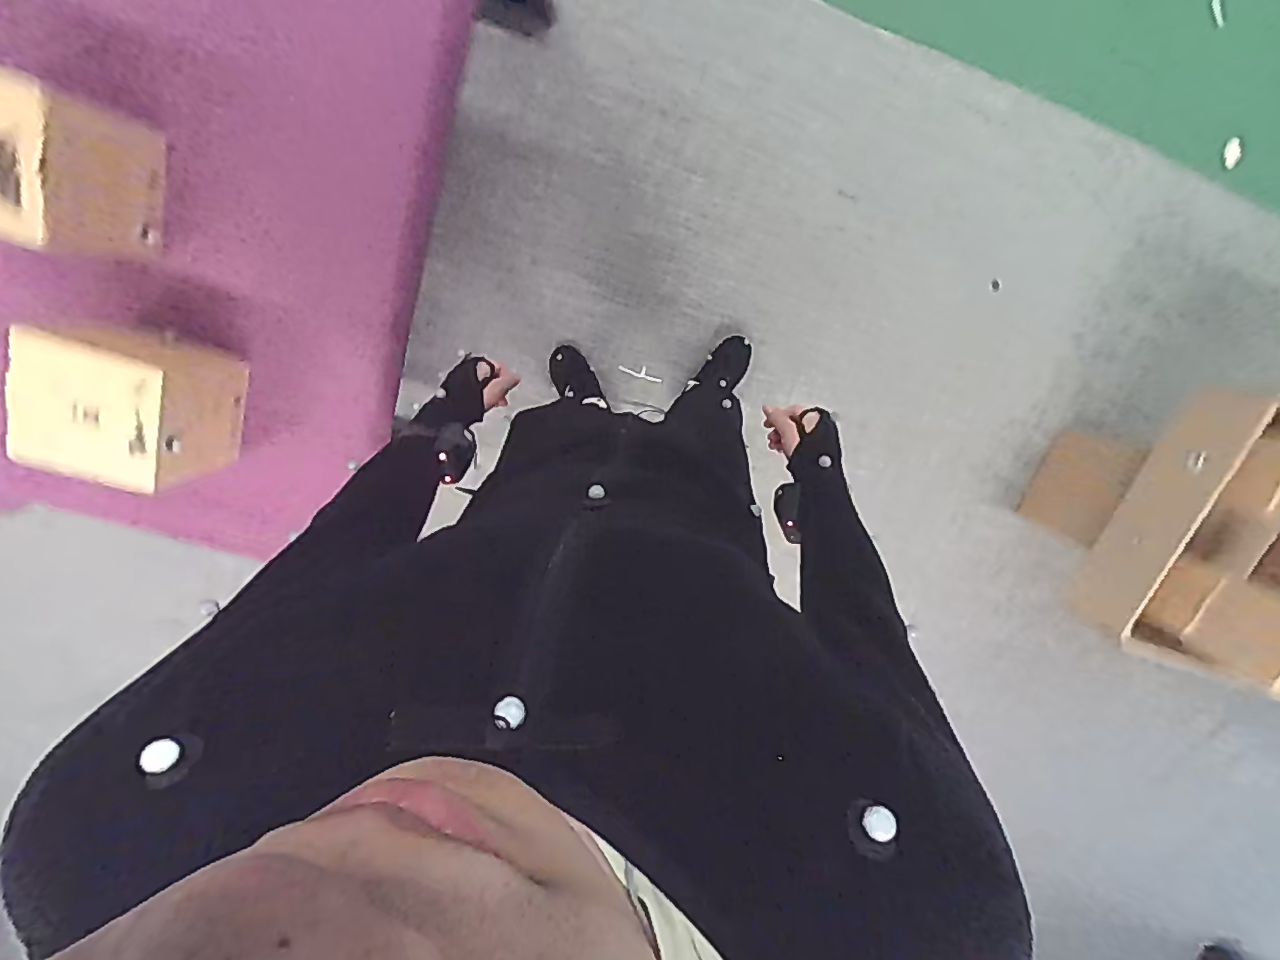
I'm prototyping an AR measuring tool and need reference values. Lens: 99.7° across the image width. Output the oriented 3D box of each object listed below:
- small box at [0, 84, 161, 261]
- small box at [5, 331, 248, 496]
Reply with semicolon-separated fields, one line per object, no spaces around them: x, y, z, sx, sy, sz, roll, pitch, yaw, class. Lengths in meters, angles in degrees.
-0.741;-0.378;0.662;0.179;0.176;0.168;15;105;-6;small box
-0.691;-0.099;0.744;0.179;0.176;0.168;17;106;-7;small box
